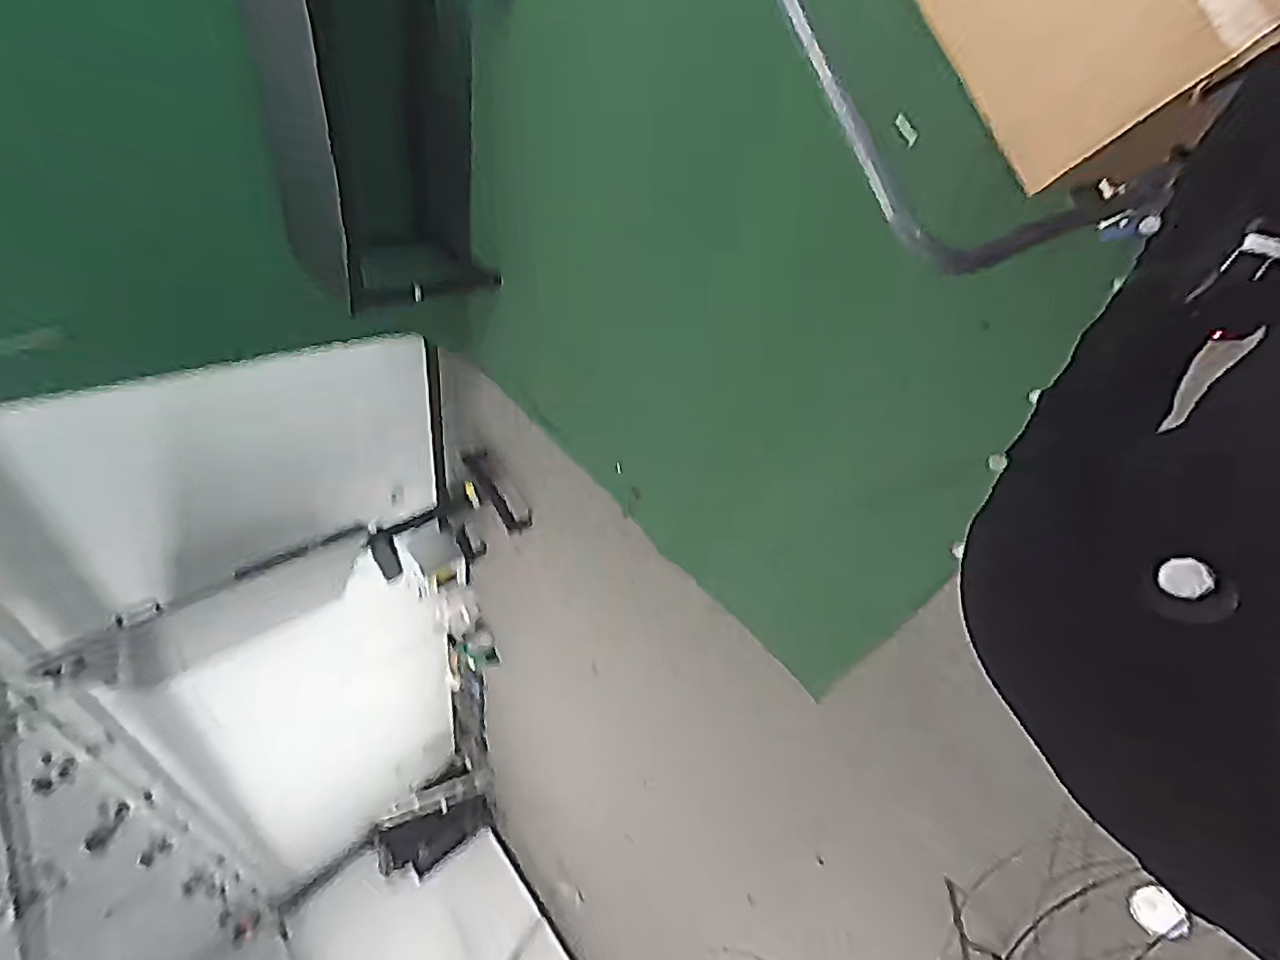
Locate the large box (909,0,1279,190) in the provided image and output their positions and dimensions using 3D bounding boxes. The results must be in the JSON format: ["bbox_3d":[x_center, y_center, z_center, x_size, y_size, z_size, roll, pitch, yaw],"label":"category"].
[{"bbox_3d":[0.477,-0.554,0.498,0.408,0.320,0.320,63,148,4],"label":"large box"}]
